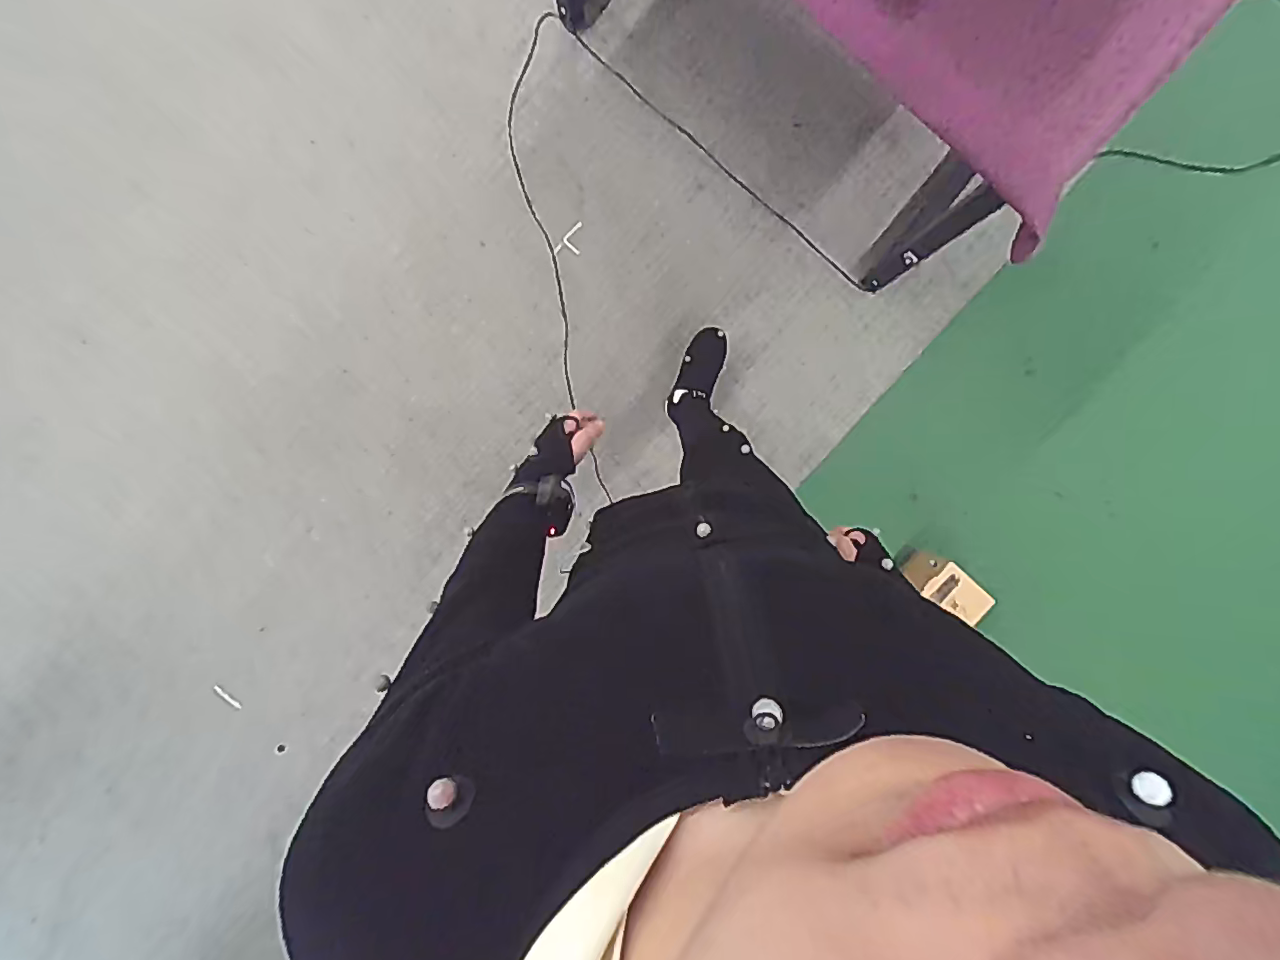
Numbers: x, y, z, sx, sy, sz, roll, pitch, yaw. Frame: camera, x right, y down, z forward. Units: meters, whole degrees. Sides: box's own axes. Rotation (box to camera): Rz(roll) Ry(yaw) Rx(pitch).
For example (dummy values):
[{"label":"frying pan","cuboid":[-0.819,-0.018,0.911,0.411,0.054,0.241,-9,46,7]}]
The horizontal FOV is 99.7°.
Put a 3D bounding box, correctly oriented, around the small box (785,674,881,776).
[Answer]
[{"label":"small box","cuboid":[0.556,0.705,1.580,0.179,0.176,0.168,45,94,-2]}]
